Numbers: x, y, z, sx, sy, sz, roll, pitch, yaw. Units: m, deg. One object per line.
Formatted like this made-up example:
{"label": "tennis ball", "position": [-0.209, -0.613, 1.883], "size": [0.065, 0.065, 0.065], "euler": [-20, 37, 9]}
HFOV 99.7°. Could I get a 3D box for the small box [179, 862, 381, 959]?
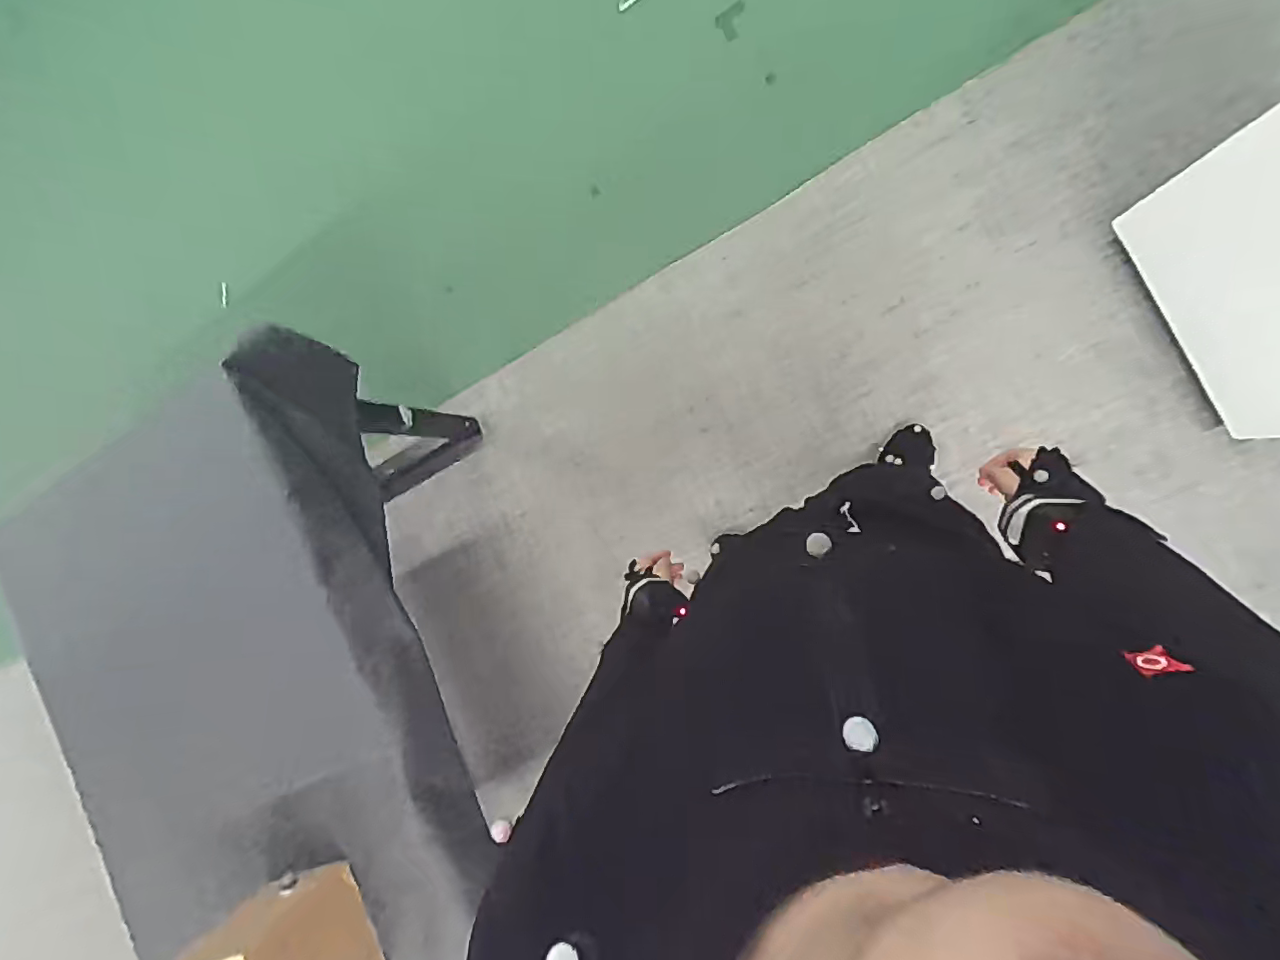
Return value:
{"label": "small box", "position": [-0.478, 0.663, 0.717], "size": [0.168, 0.176, 0.179], "euler": [-25, 84, 12]}
